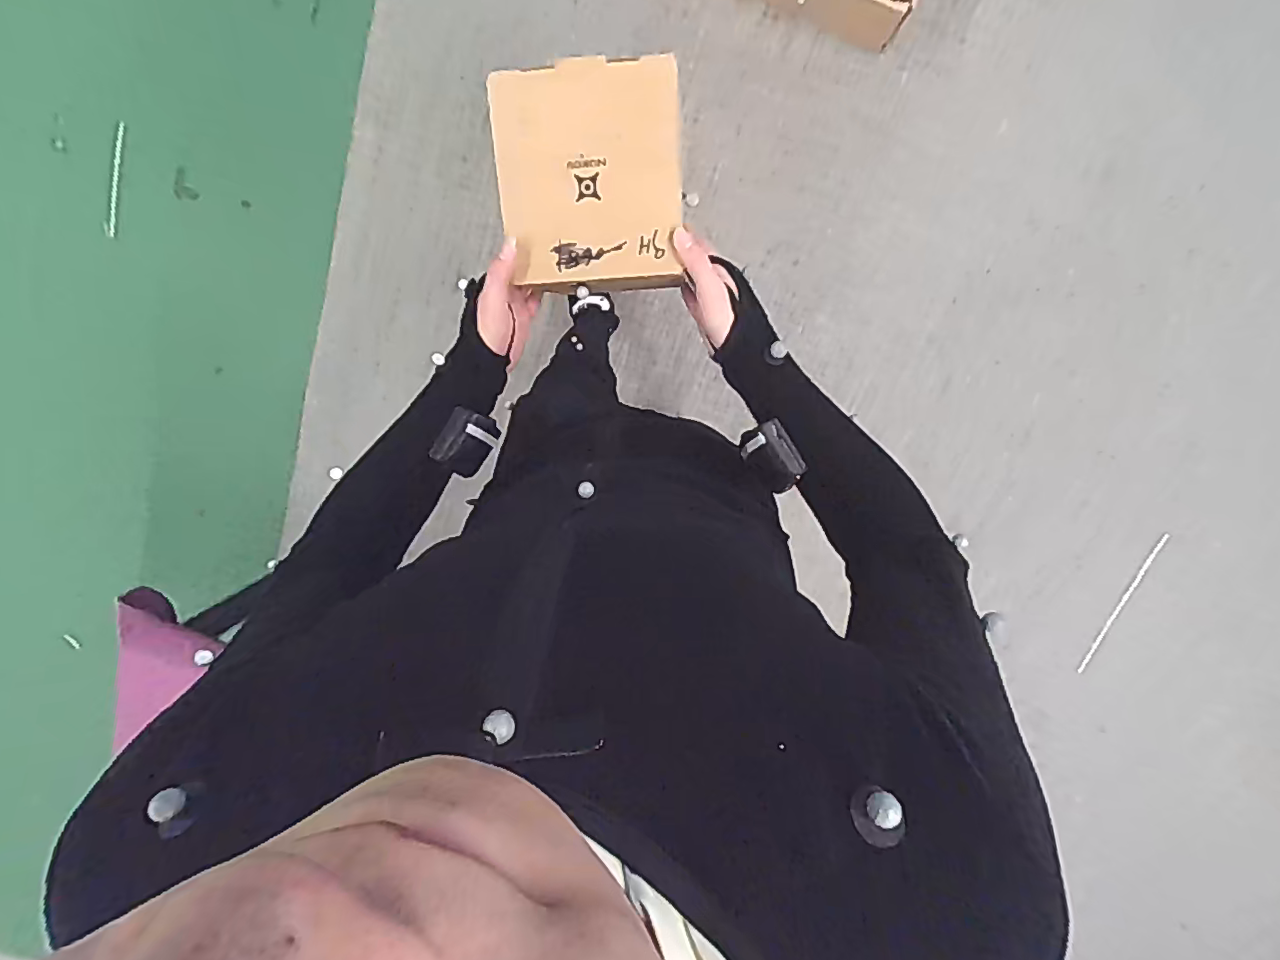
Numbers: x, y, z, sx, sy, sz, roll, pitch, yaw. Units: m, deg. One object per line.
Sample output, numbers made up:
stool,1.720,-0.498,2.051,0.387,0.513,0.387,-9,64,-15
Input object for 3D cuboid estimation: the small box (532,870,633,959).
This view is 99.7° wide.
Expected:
small box,-0.115,0.897,1.020,0.168,0.176,0.179,15,104,2

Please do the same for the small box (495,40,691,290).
small box,-0.034,-0.296,0.547,0.168,0.176,0.179,-2,104,5
